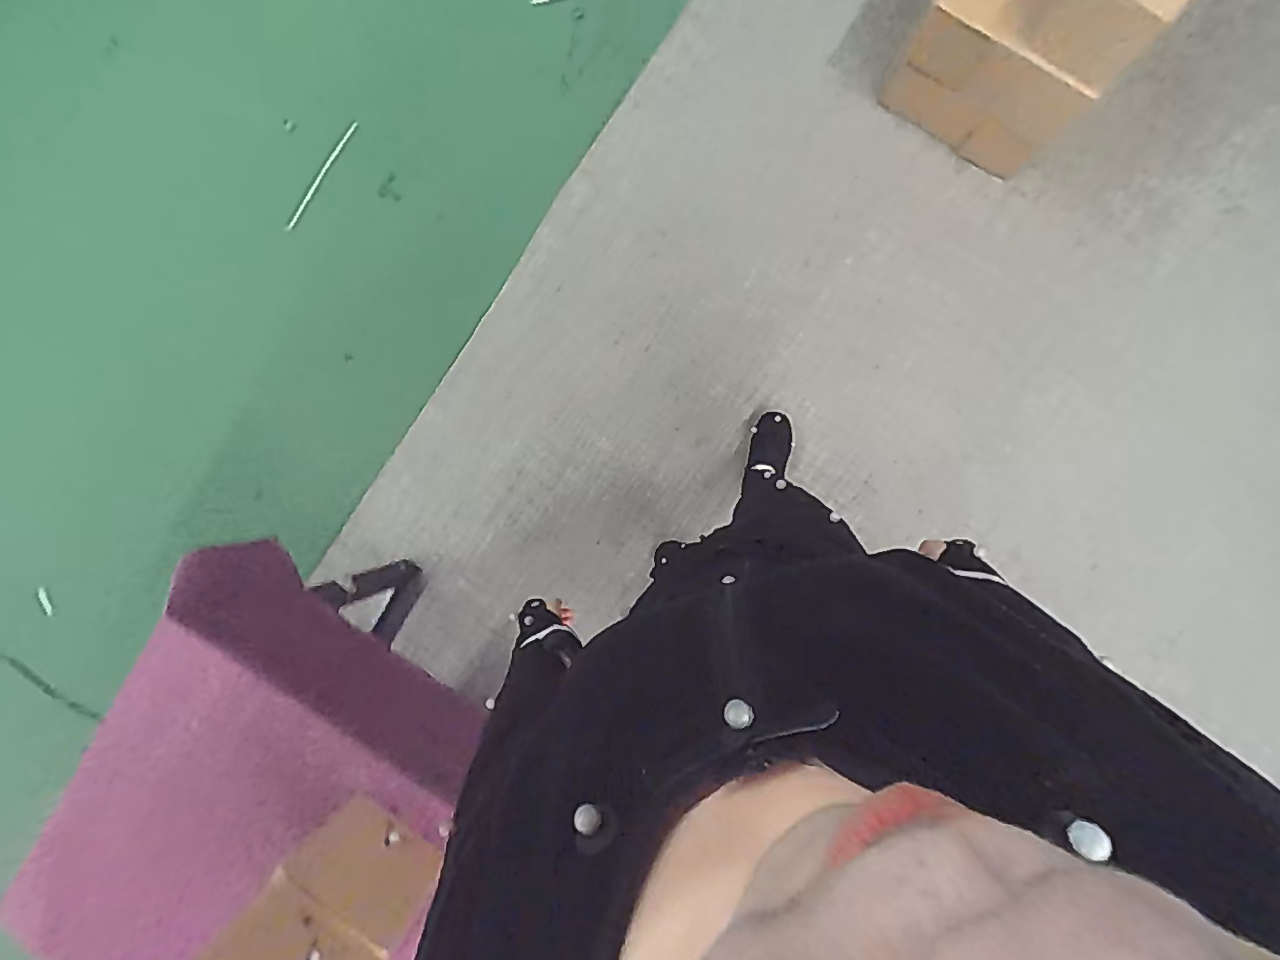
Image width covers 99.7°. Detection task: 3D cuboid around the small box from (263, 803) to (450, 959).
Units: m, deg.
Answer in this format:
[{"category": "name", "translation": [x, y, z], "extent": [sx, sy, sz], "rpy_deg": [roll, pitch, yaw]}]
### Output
[{"category": "small box", "translation": [-0.403, 0.590, 0.746], "extent": [0.179, 0.176, 0.168], "rpy_deg": [33, 94, 5]}]
